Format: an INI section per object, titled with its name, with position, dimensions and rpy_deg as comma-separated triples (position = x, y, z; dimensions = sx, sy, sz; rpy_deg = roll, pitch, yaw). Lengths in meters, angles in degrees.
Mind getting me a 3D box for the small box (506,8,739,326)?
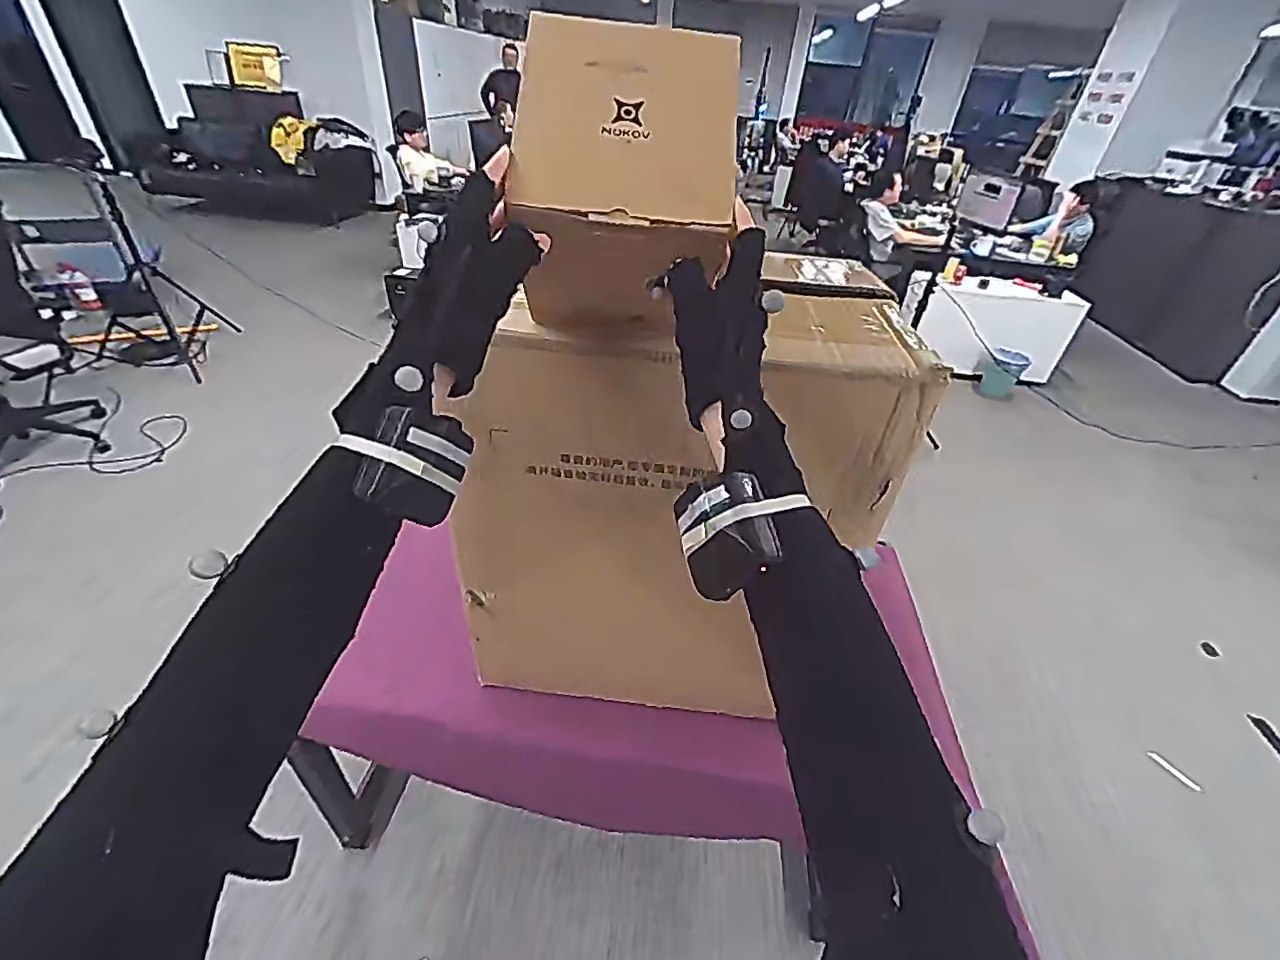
[small box]
position = -0.014, -0.257, 0.480
dimensions = 0.168, 0.176, 0.179
rpy_deg = 4, 76, -4
